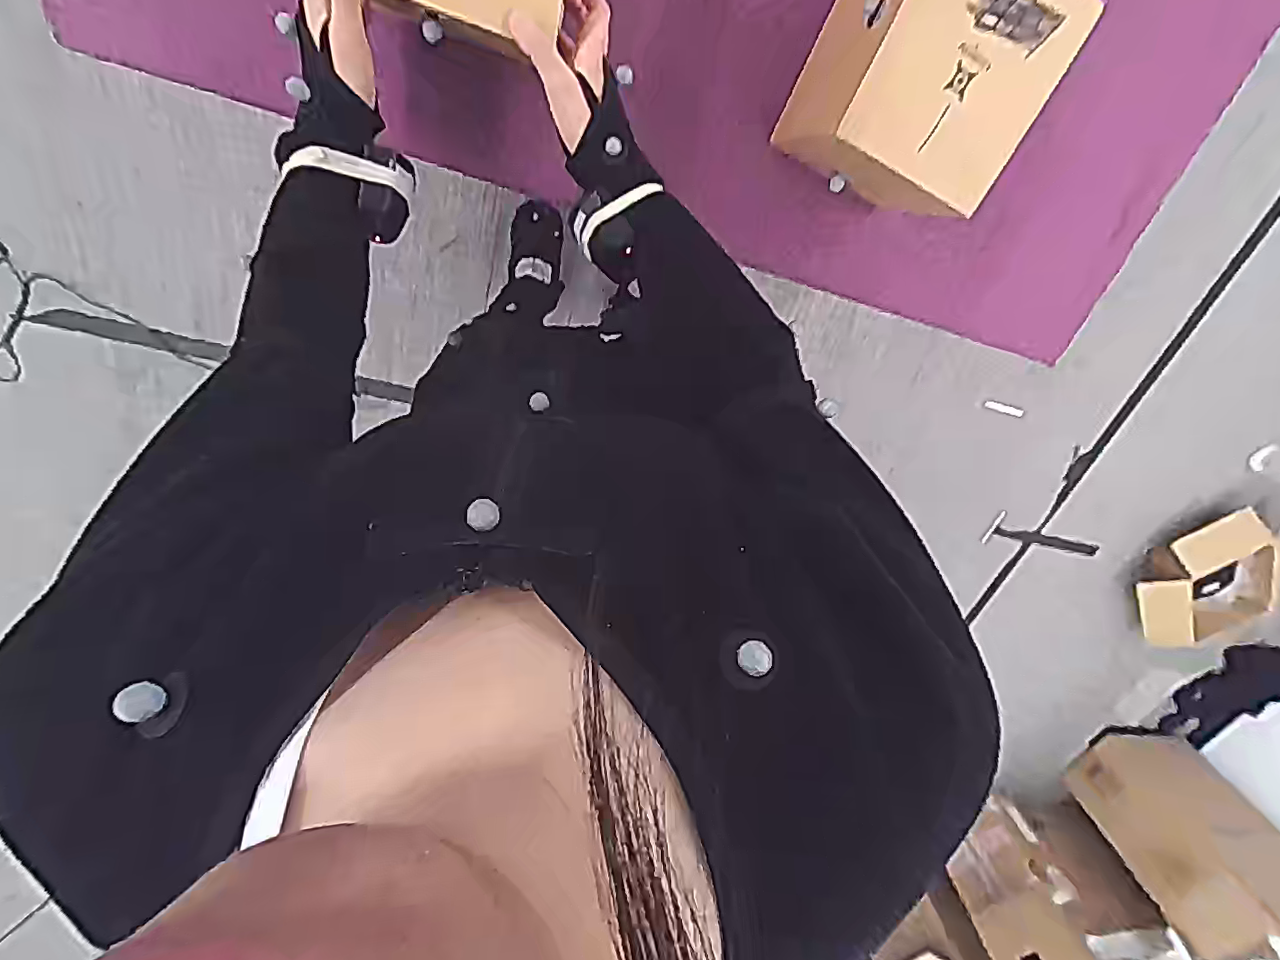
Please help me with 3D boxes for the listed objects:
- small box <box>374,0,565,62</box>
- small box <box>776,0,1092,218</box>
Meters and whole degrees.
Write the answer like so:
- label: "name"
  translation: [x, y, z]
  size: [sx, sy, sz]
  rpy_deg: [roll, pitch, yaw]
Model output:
- label: "small box"
  translation: [-0.137, -0.454, 0.421]
  size: [0.179, 0.176, 0.168]
  rpy_deg: [11, 121, -15]
- label: "small box"
  translation: [0.260, -0.386, 0.528]
  size: [0.168, 0.176, 0.179]
  rpy_deg: [19, 116, -19]
